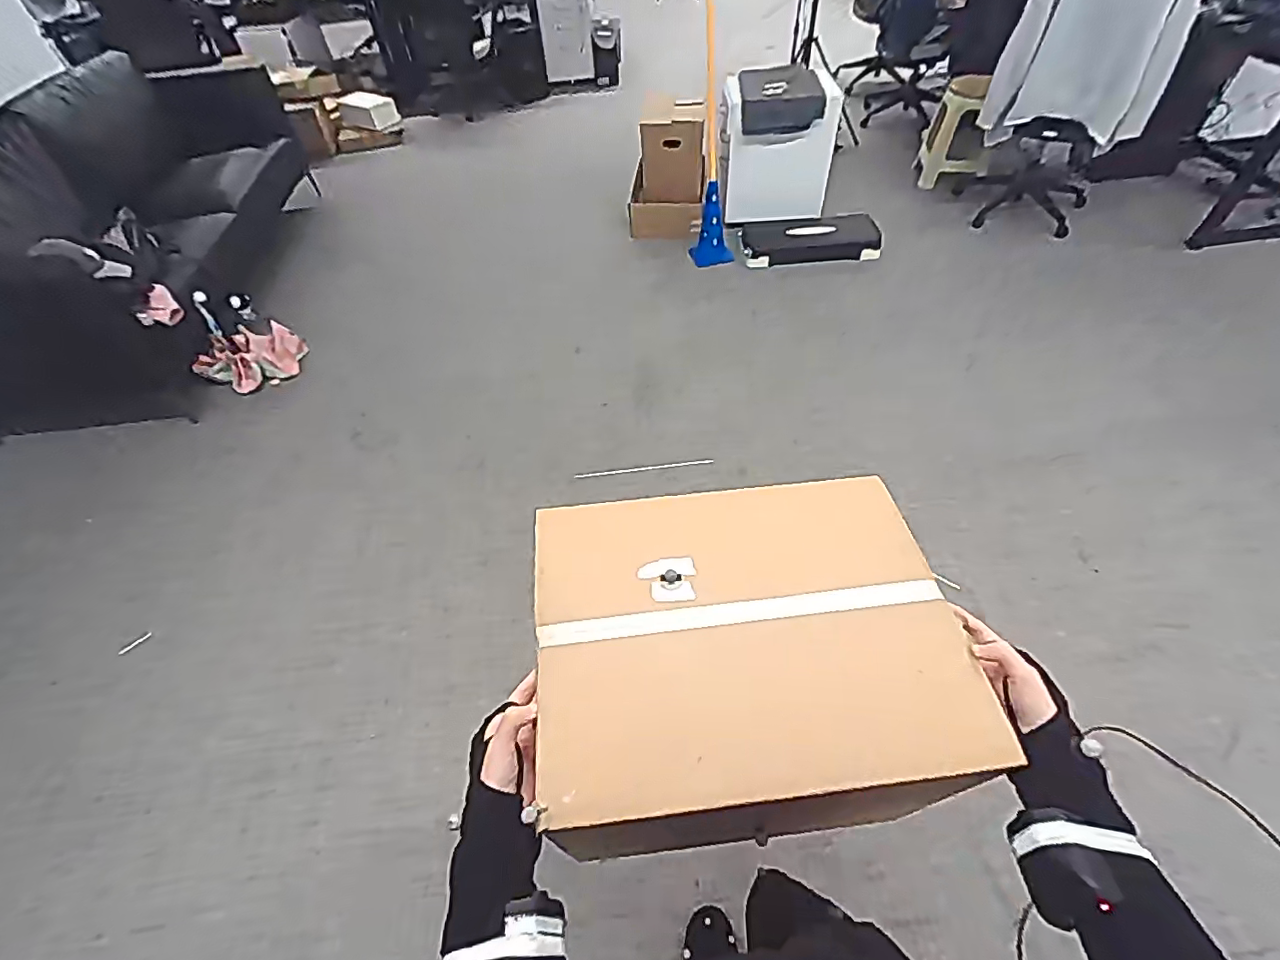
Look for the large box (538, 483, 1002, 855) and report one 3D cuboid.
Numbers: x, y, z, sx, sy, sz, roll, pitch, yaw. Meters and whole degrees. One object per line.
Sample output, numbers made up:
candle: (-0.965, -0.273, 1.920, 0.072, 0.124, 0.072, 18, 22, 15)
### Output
large box: (0.104, 0.236, 0.658, 0.408, 0.320, 0.320, -6, 51, -3)
